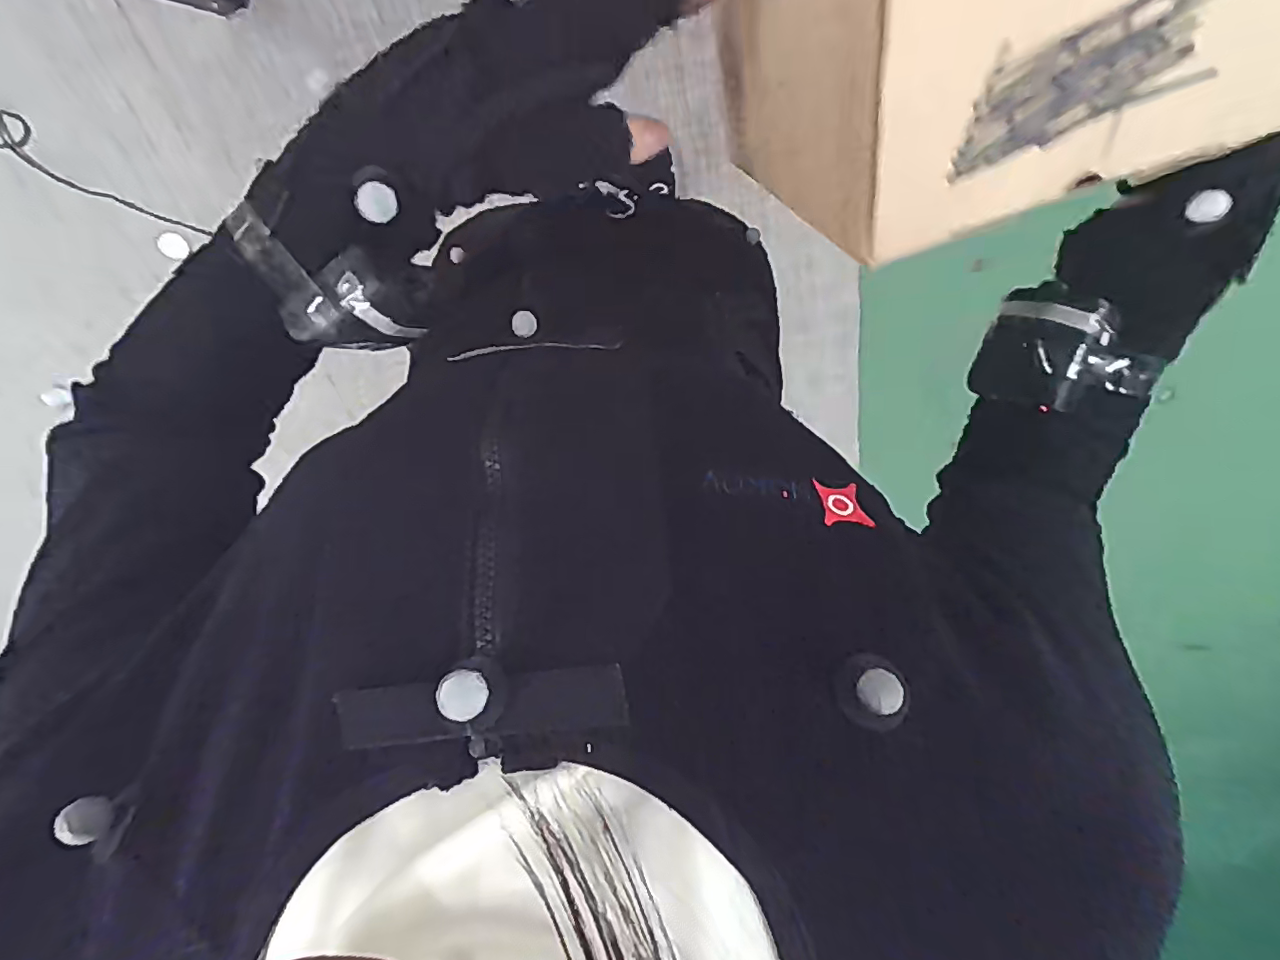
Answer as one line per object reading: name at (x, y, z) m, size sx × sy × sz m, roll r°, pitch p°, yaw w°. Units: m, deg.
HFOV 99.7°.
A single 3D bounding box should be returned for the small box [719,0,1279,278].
small box at (0.133, -0.215, 0.216) m, size 0.168 × 0.176 × 0.179 m, roll -17°, pitch 133°, yaw 1°
